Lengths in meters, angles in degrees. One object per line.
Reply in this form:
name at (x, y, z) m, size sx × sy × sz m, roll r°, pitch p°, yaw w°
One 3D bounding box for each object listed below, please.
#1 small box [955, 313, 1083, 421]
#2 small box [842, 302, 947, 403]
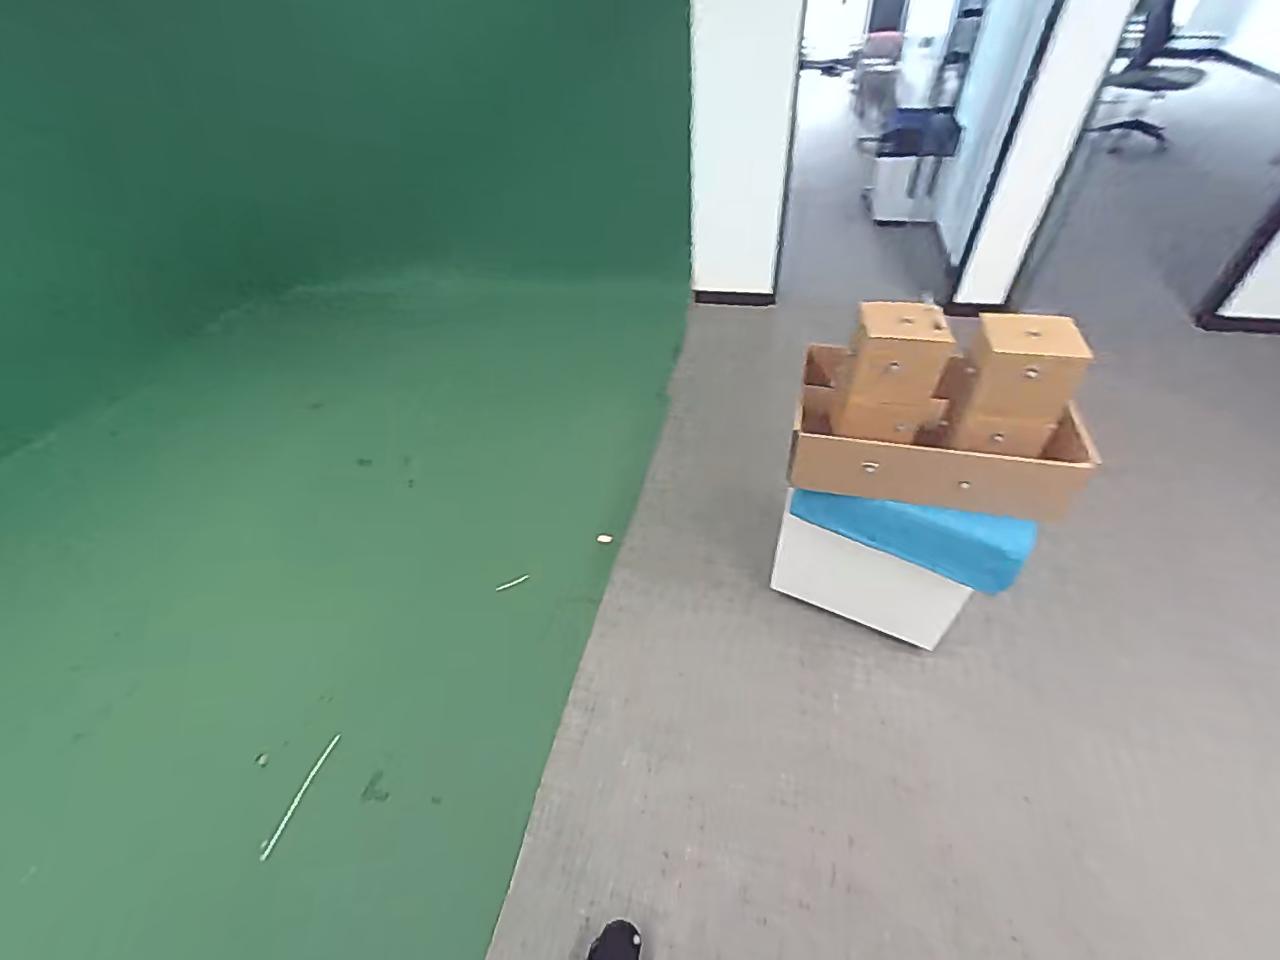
small box at (0.808, -0.246, 1.179) m, size 0.179 × 0.176 × 0.168 m, roll 8°, pitch 46°, yaw 14°
small box at (0.573, -0.293, 1.247) m, size 0.179 × 0.176 × 0.168 m, roll 5°, pitch 46°, yaw 9°
